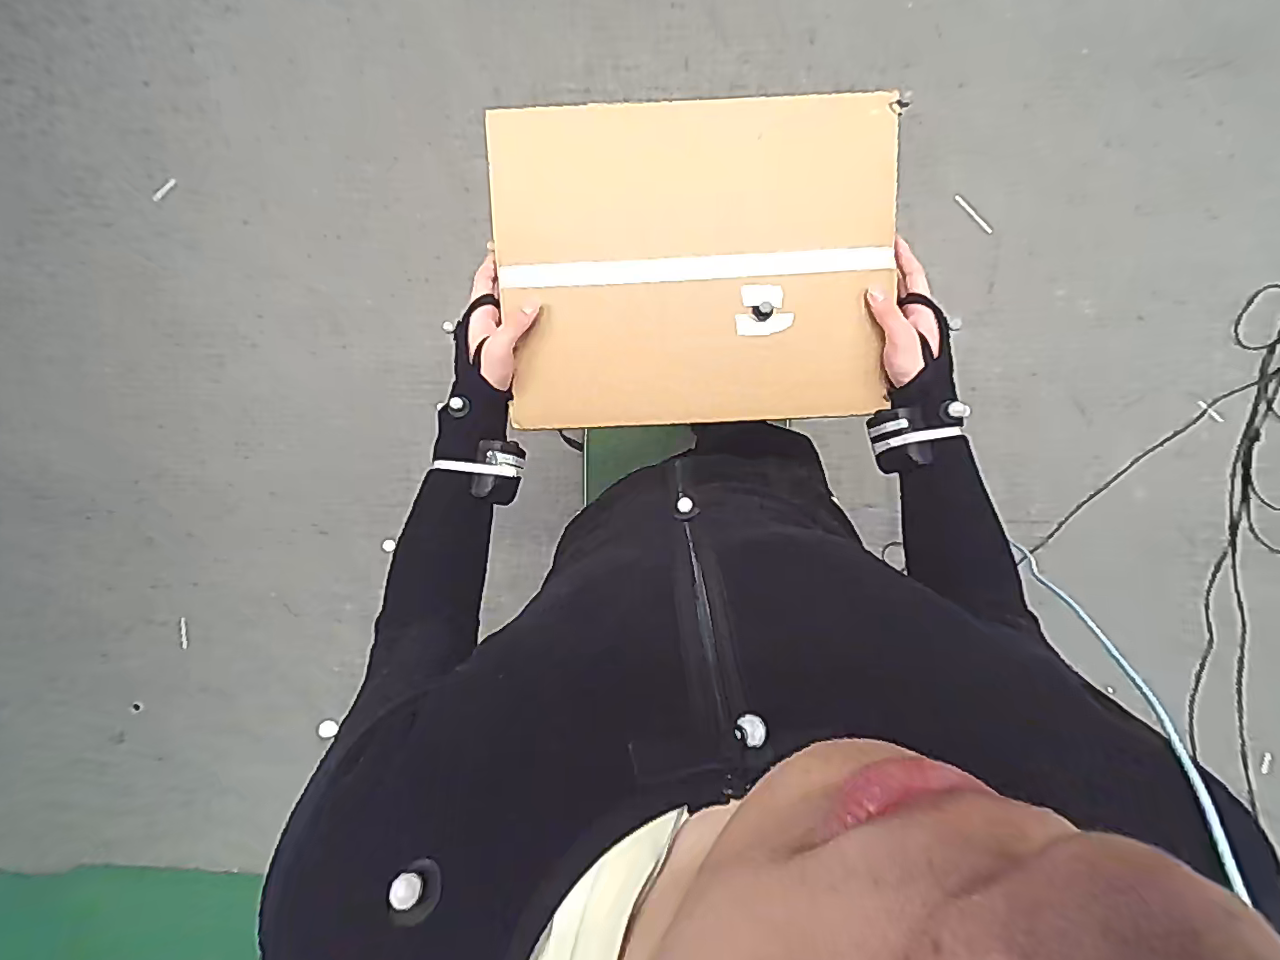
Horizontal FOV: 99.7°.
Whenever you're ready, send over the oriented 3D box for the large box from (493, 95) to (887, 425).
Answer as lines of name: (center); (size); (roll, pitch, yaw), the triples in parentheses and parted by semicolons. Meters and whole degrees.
large box: (0.054, -0.243, 0.709); (0.408, 0.320, 0.320); (-3, 98, -1)
